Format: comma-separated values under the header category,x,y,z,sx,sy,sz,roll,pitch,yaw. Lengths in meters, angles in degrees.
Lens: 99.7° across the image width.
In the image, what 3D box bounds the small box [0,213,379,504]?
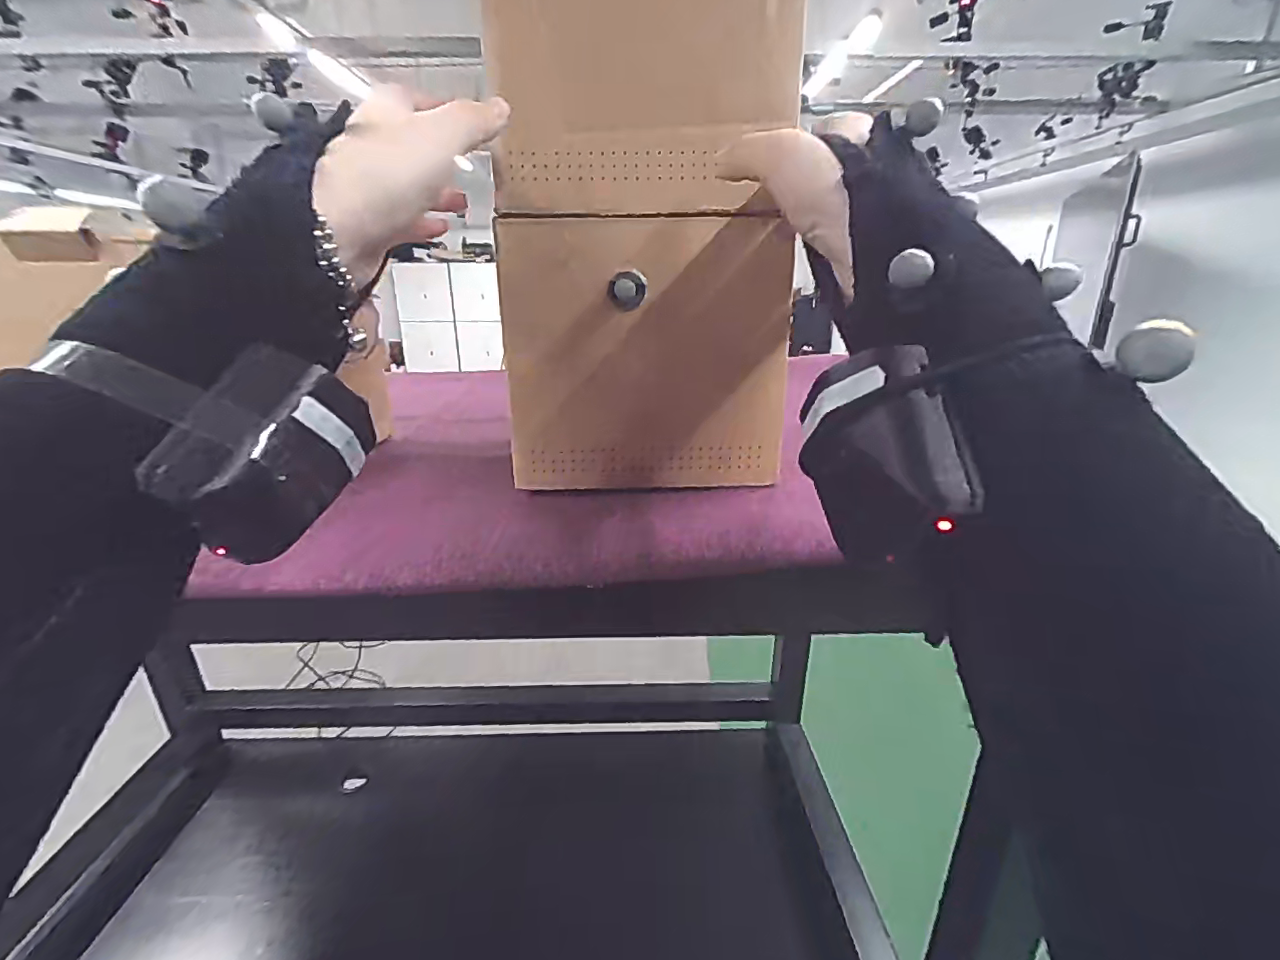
category,x,y,z,sx,sy,sz,roll,pitch,yaw
small box,-0.310,-0.088,0.388,0.168,0.176,0.179,1,19,0

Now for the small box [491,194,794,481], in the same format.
category,x,y,z,sx,sy,sz,roll,pitch,yaw
small box,0.002,-0.099,0.400,0.179,0.176,0.168,-1,18,-1

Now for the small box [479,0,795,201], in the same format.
category,x,y,z,sx,sy,sz,roll,pitch,yaw
small box,-0.002,-0.255,0.356,0.179,0.176,0.168,-1,18,-1
